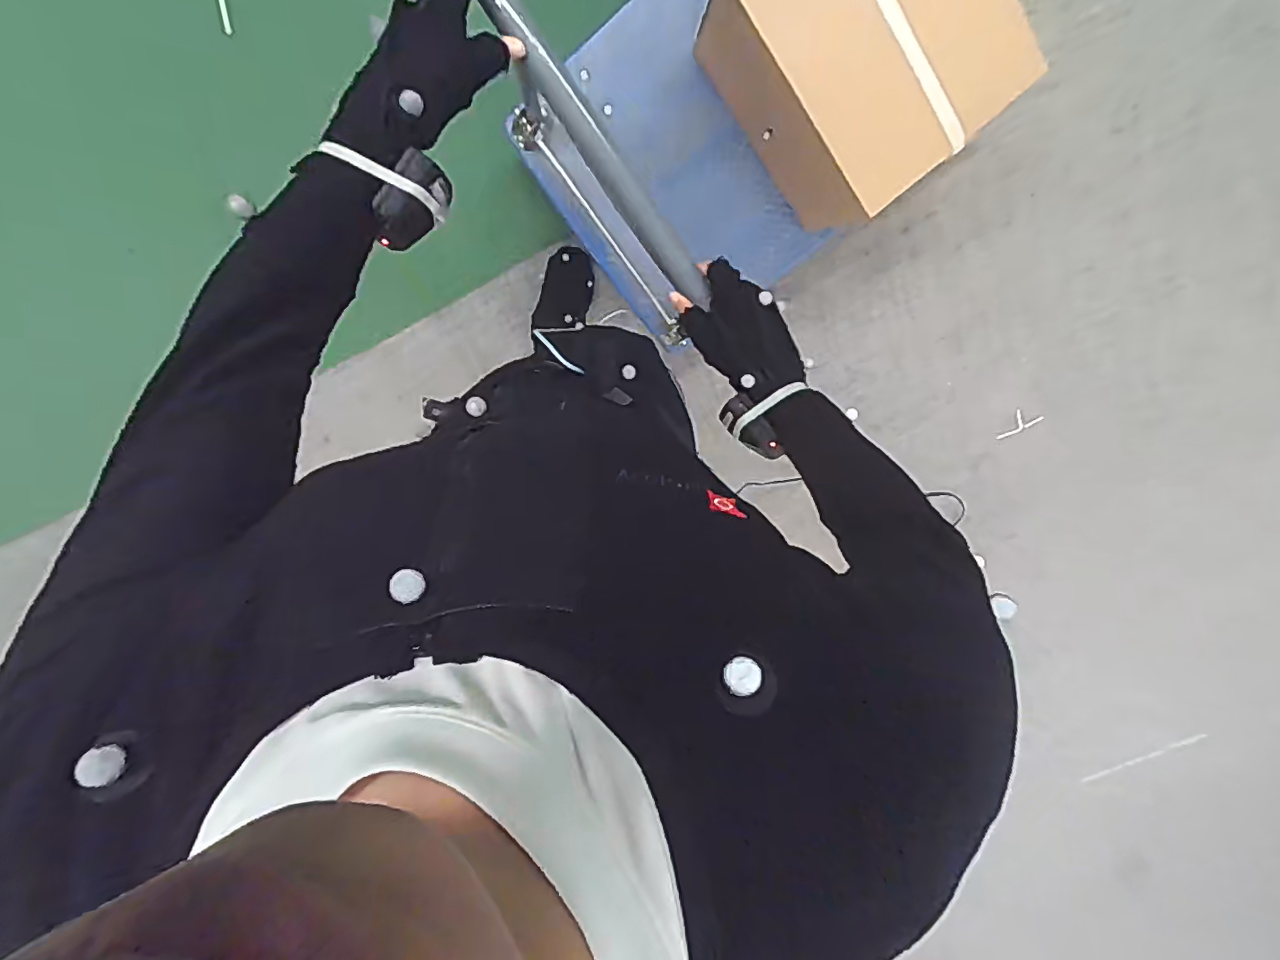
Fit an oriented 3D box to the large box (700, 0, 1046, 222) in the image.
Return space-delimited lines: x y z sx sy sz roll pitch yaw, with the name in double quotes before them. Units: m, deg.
"large box" 0.354 -0.715 0.910 0.320 0.320 0.408 -39 107 11
